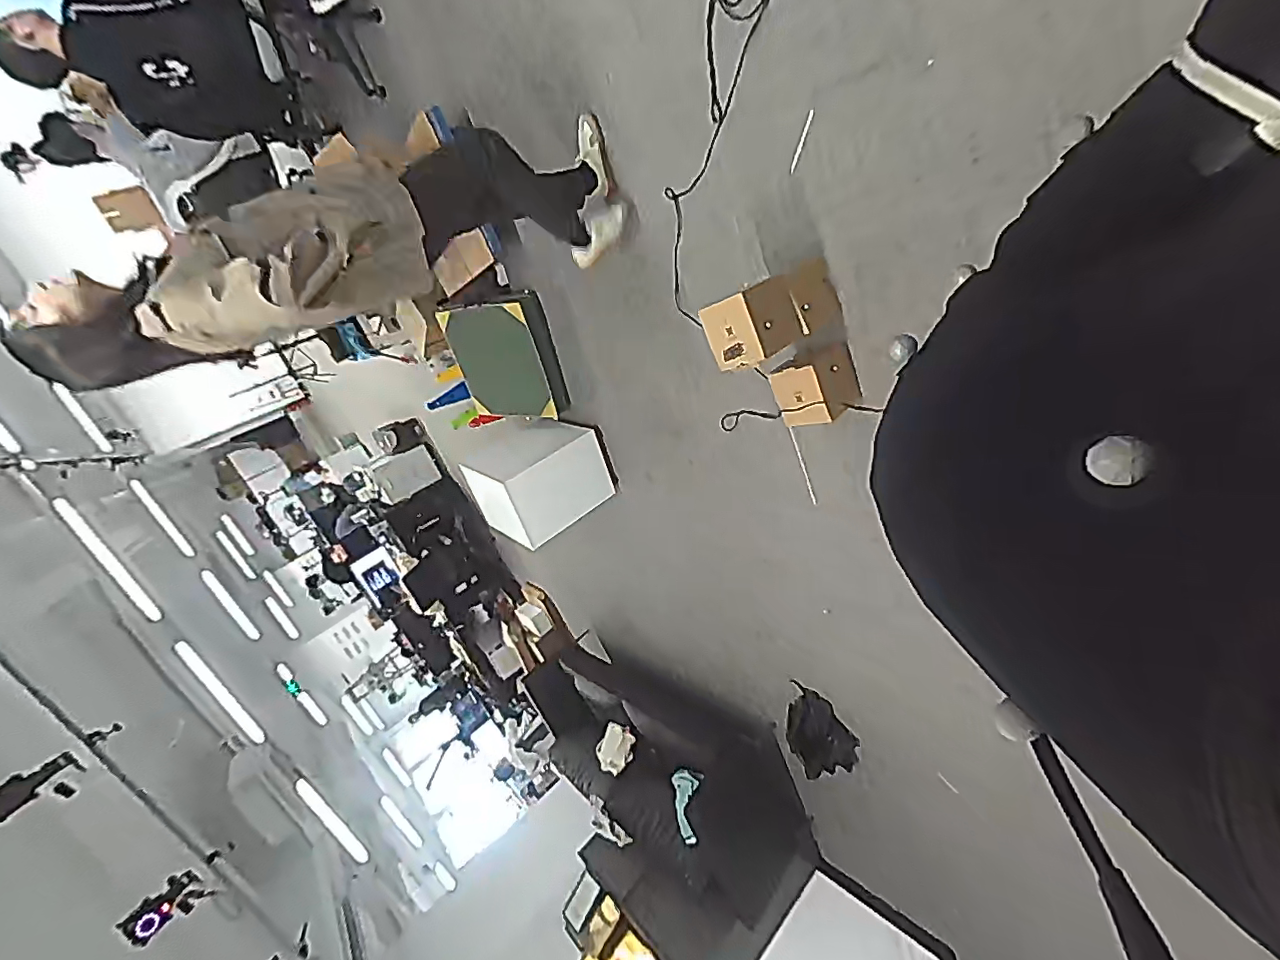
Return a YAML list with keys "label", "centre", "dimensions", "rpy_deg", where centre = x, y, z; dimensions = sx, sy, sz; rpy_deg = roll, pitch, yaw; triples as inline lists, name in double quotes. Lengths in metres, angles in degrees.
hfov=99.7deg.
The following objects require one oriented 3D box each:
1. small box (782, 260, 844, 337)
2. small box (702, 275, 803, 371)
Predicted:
- label: "small box"
  centre: [0.425, -0.482, 1.499]
  dimensions: [0.179, 0.176, 0.168]
  rpy_deg: [-10, 110, 58]
- label: "small box"
  centre: [0.299, -0.411, 1.420]
  dimensions: [0.168, 0.176, 0.179]
  rpy_deg: [-2, 117, 56]
